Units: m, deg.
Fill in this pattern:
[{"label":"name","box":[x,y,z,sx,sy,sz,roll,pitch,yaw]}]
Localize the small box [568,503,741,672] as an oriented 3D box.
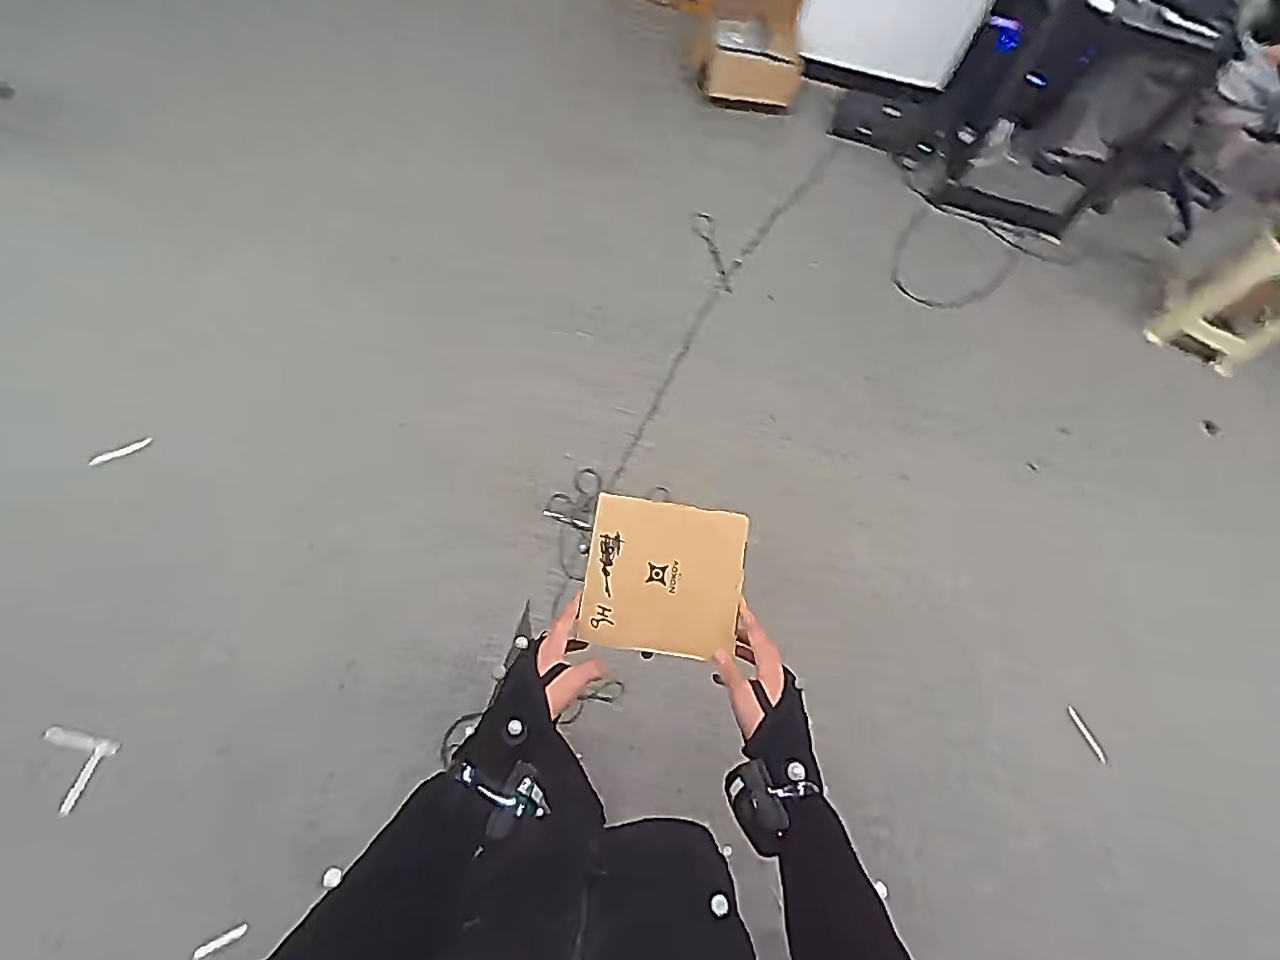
[{"label":"small box","box":[0.015,0.134,0.683,0.179,0.176,0.168,9,77,-1]}]
